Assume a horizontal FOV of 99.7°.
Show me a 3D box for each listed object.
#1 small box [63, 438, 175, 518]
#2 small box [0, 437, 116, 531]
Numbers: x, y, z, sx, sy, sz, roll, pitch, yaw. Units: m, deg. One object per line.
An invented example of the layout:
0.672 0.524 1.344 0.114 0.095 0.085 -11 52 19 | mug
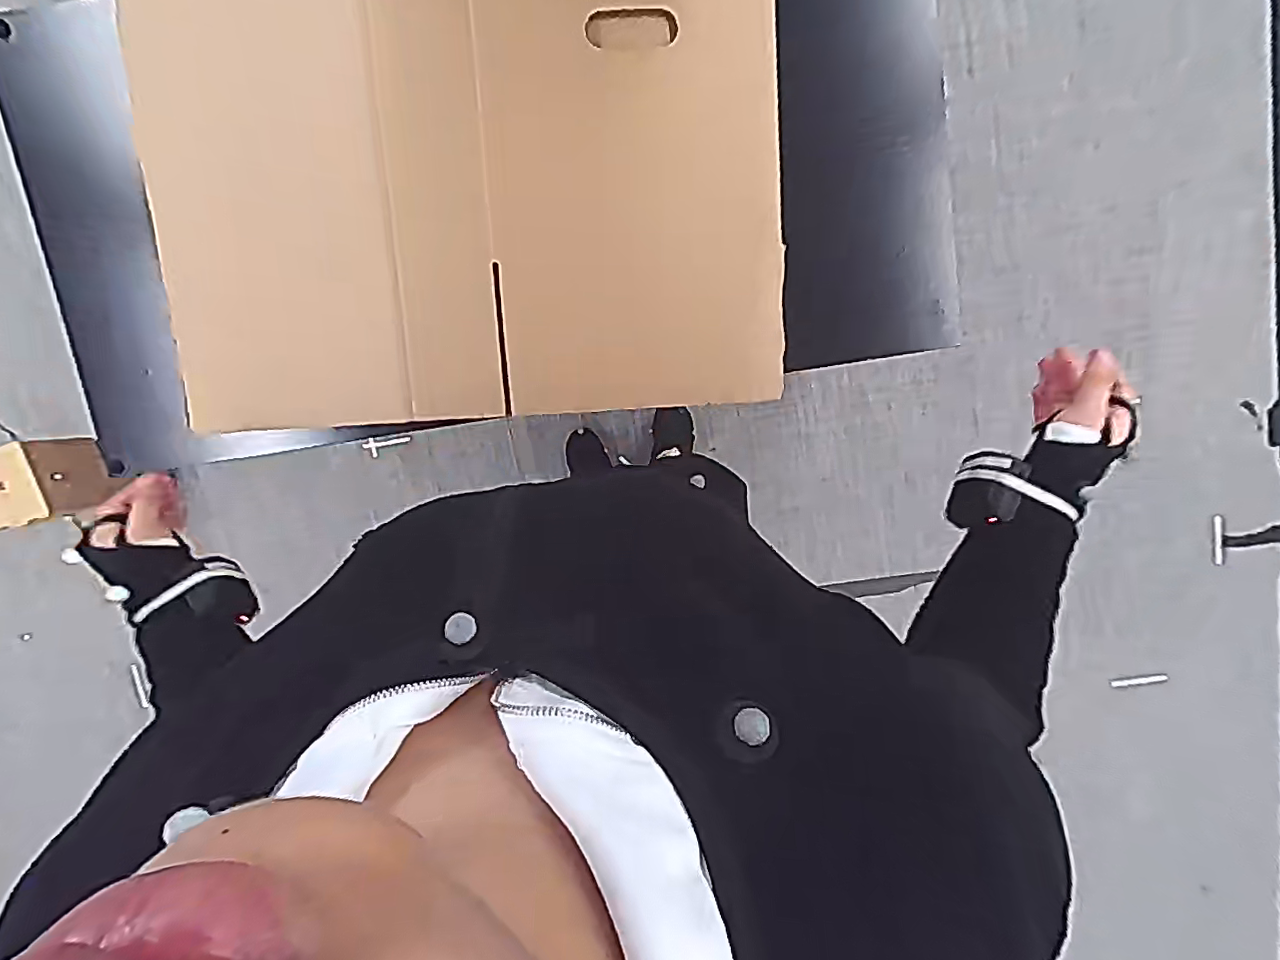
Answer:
-1.410 -0.012 1.443 0.168 0.176 0.179 -13 98 3 | small box
-1.415 0.005 1.281 0.168 0.176 0.179 -15 97 3 | small box
